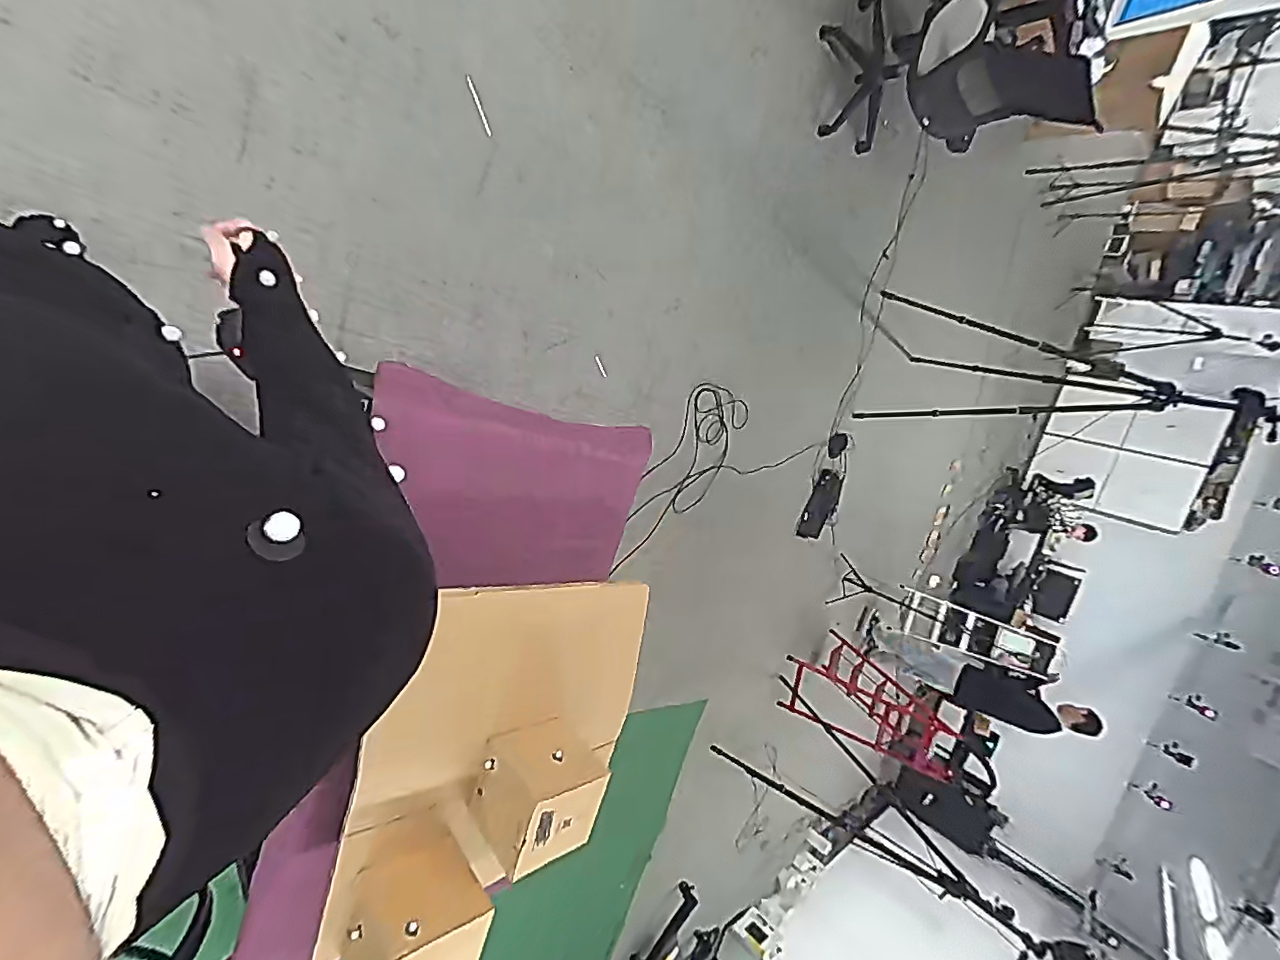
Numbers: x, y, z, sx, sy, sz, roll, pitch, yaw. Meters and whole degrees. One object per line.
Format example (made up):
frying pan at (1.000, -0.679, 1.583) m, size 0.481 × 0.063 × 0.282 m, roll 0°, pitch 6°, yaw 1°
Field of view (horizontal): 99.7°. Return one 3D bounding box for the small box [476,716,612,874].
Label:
small box at (-0.188, 0.588, 1.035) m, size 0.179 × 0.176 × 0.168 m, roll 6°, pitch 106°, yaw -47°

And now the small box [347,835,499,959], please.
small box at (-0.380, 0.770, 0.941) m, size 0.179 × 0.176 × 0.168 m, roll 7°, pitch 105°, yaw -45°
